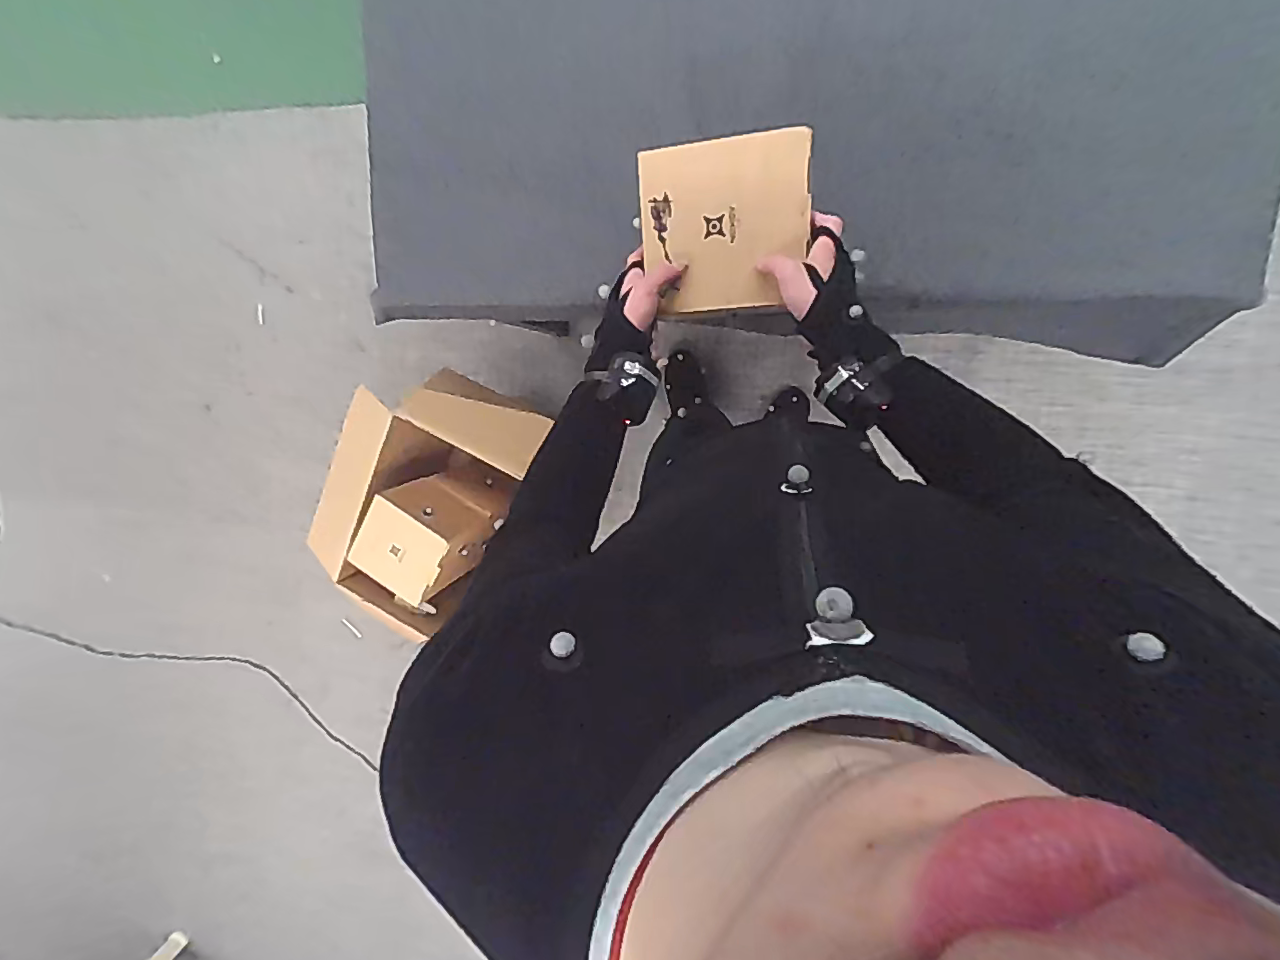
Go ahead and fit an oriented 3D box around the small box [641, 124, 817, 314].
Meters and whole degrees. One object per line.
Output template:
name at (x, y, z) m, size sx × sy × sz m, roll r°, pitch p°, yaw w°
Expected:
small box at (0.105, -0.285, 0.629) m, size 0.179 × 0.176 × 0.168 m, roll 0°, pitch 104°, yaw 13°
